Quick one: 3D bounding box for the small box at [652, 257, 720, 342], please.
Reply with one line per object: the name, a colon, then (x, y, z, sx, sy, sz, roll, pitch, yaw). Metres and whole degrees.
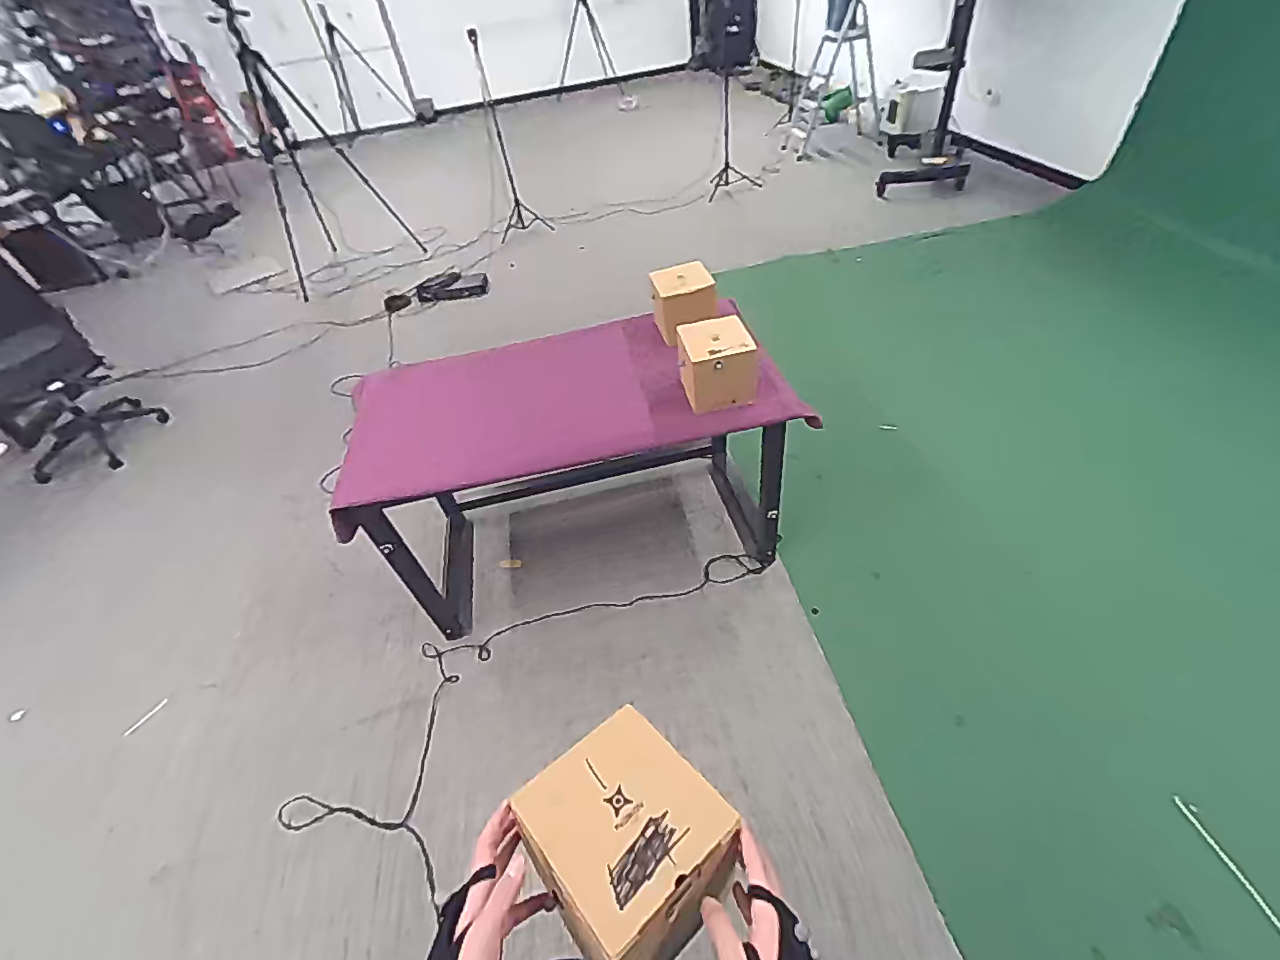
small box: (0.143, -0.553, 1.661, 0.168, 0.176, 0.179, -16, 46, 0)

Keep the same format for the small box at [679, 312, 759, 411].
small box: (0.205, -0.307, 1.411, 0.168, 0.176, 0.179, -13, 46, 0)
